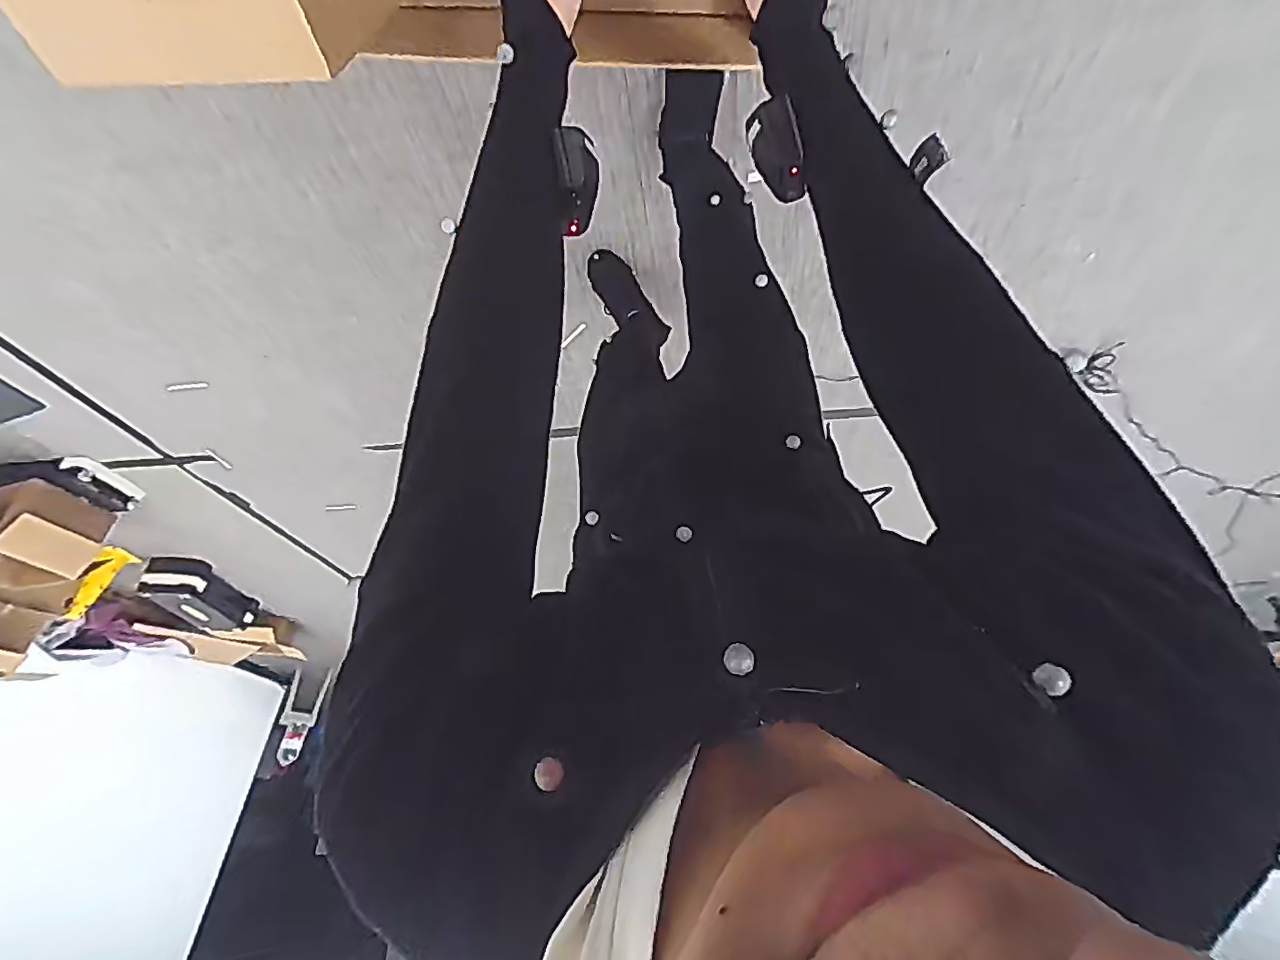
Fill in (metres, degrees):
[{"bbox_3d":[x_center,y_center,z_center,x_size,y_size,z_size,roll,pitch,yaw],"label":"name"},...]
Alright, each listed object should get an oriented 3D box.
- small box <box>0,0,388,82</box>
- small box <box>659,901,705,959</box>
[{"bbox_3d":[-0.259,-0.342,0.284,0.168,0.176,0.179,0,144,2],"label":"small box"},{"bbox_3d":[0.174,1.835,2.210,0.179,0.176,0.168,-4,146,8],"label":"small box"}]
